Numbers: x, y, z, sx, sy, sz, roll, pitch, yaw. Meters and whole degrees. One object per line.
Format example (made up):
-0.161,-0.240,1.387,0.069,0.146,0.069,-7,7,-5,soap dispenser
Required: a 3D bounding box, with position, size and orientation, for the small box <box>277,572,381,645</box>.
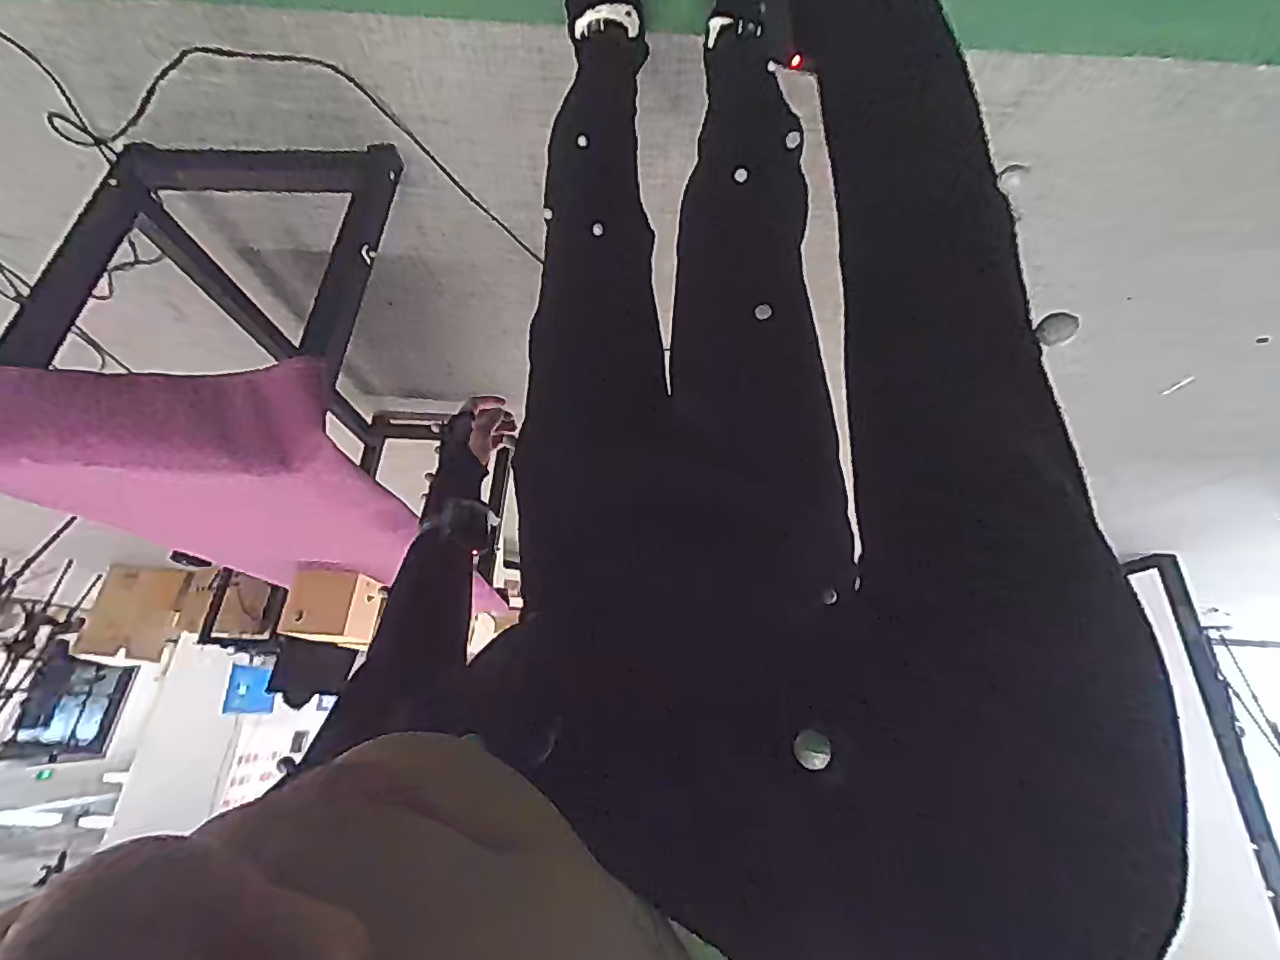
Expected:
-0.842,0.351,1.482,0.179,0.176,0.168,3,157,-1,small box
